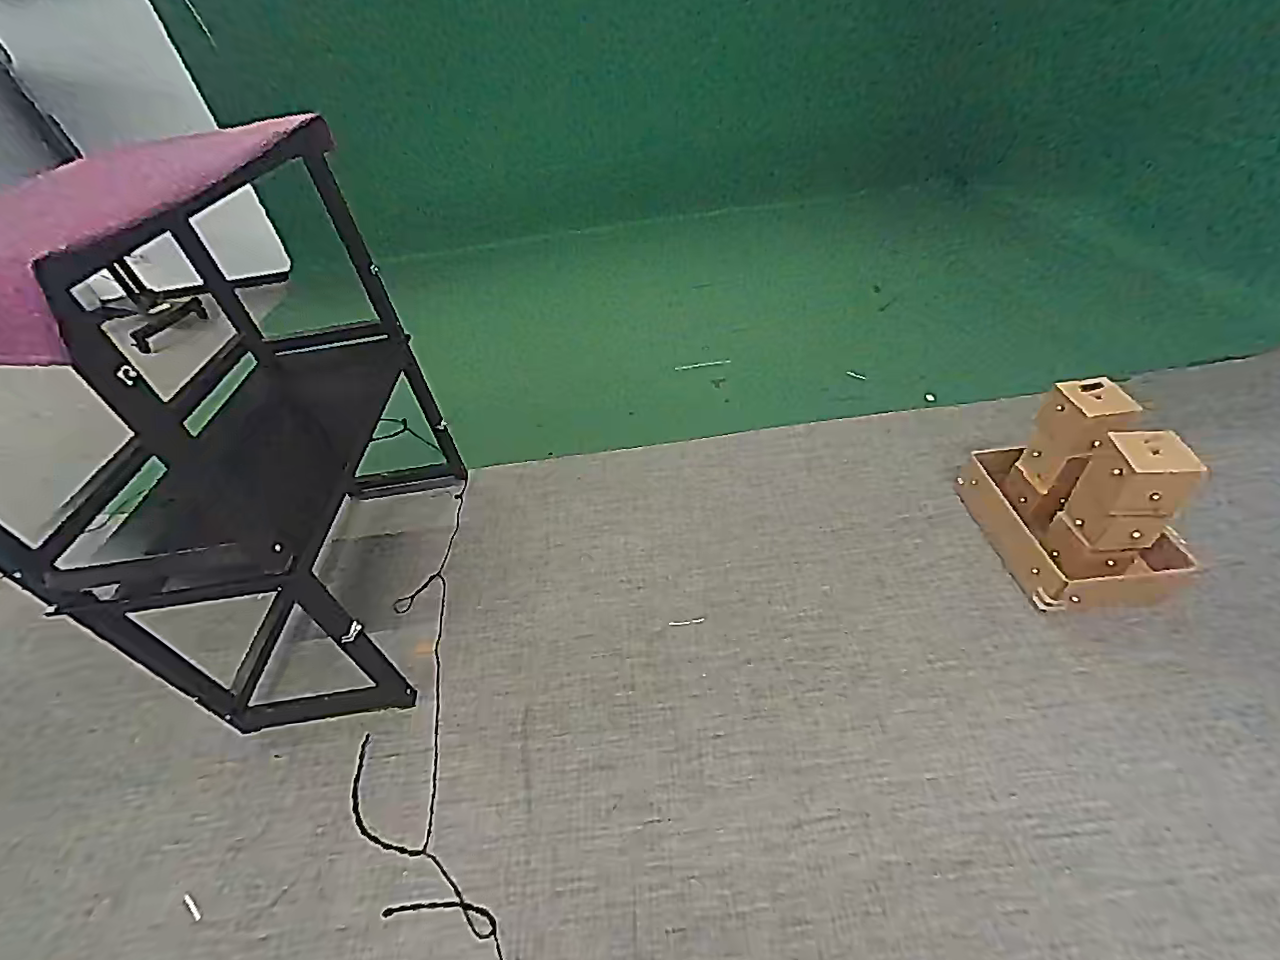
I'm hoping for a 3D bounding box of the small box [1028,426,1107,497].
[{"bbox_3d":[1.457,-0.059,1.830,0.179,0.176,0.168,-8,44,2],"label":"small box"}]

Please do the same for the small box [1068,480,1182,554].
[{"bbox_3d":[1.457,0.110,1.638,0.168,0.176,0.179,-5,42,6],"label":"small box"}]

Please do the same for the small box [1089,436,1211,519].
[{"bbox_3d":[1.420,-0.003,1.521,0.168,0.176,0.179,0,42,12],"label":"small box"}]
